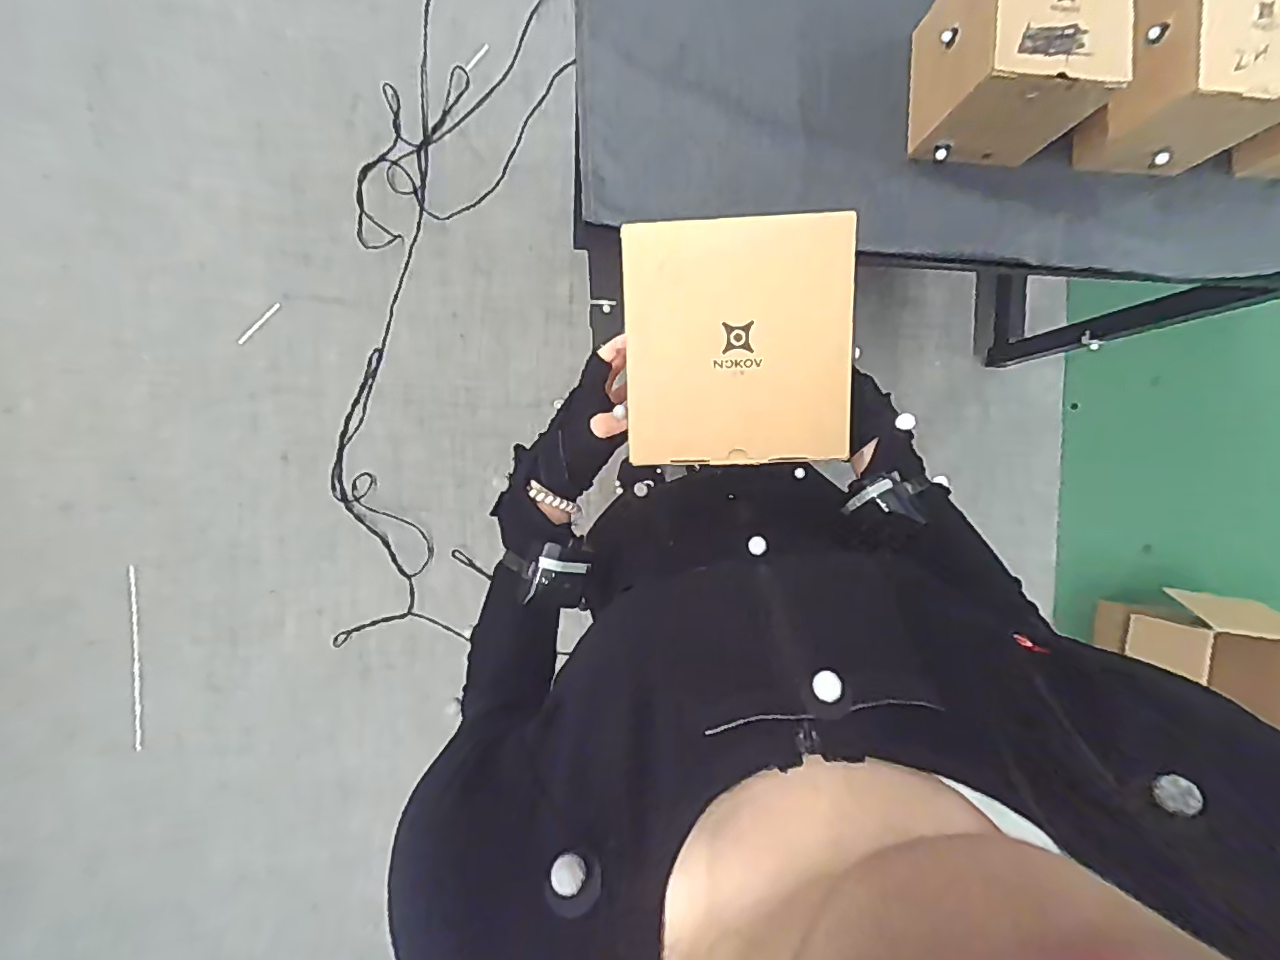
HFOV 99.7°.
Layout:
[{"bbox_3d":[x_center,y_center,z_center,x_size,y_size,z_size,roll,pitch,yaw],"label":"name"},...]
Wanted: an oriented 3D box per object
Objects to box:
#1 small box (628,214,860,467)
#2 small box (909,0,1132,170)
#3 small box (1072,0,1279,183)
[{"bbox_3d":[0.078,-0.109,0.469,0.168,0.176,0.179,-2,99,4],"label":"small box"},{"bbox_3d":[0.465,-0.525,0.684,0.168,0.176,0.179,2,90,-5],"label":"small box"},{"bbox_3d":[0.707,-0.522,0.703,0.168,0.176,0.179,0,91,-4],"label":"small box"}]
